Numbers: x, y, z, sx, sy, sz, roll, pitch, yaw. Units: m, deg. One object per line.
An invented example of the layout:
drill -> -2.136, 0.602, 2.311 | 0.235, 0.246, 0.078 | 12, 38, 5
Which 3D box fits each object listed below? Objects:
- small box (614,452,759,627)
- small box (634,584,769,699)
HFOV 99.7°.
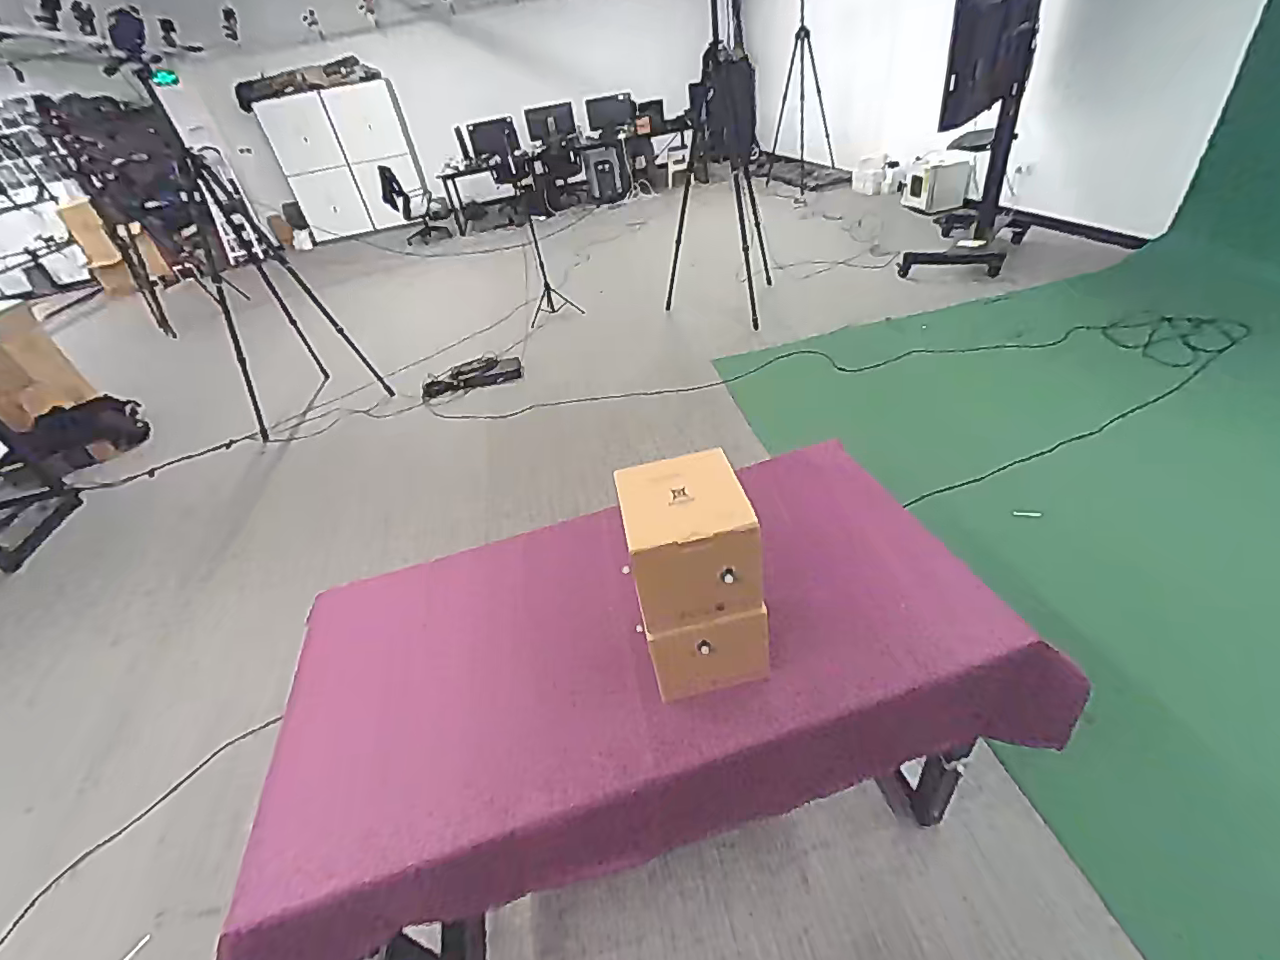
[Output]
small box -> 0.067, 0.090, 0.773 | 0.168, 0.176, 0.179 | -13, 36, -1
small box -> 0.096, 0.222, 0.864 | 0.179, 0.176, 0.168 | -14, 38, -1
